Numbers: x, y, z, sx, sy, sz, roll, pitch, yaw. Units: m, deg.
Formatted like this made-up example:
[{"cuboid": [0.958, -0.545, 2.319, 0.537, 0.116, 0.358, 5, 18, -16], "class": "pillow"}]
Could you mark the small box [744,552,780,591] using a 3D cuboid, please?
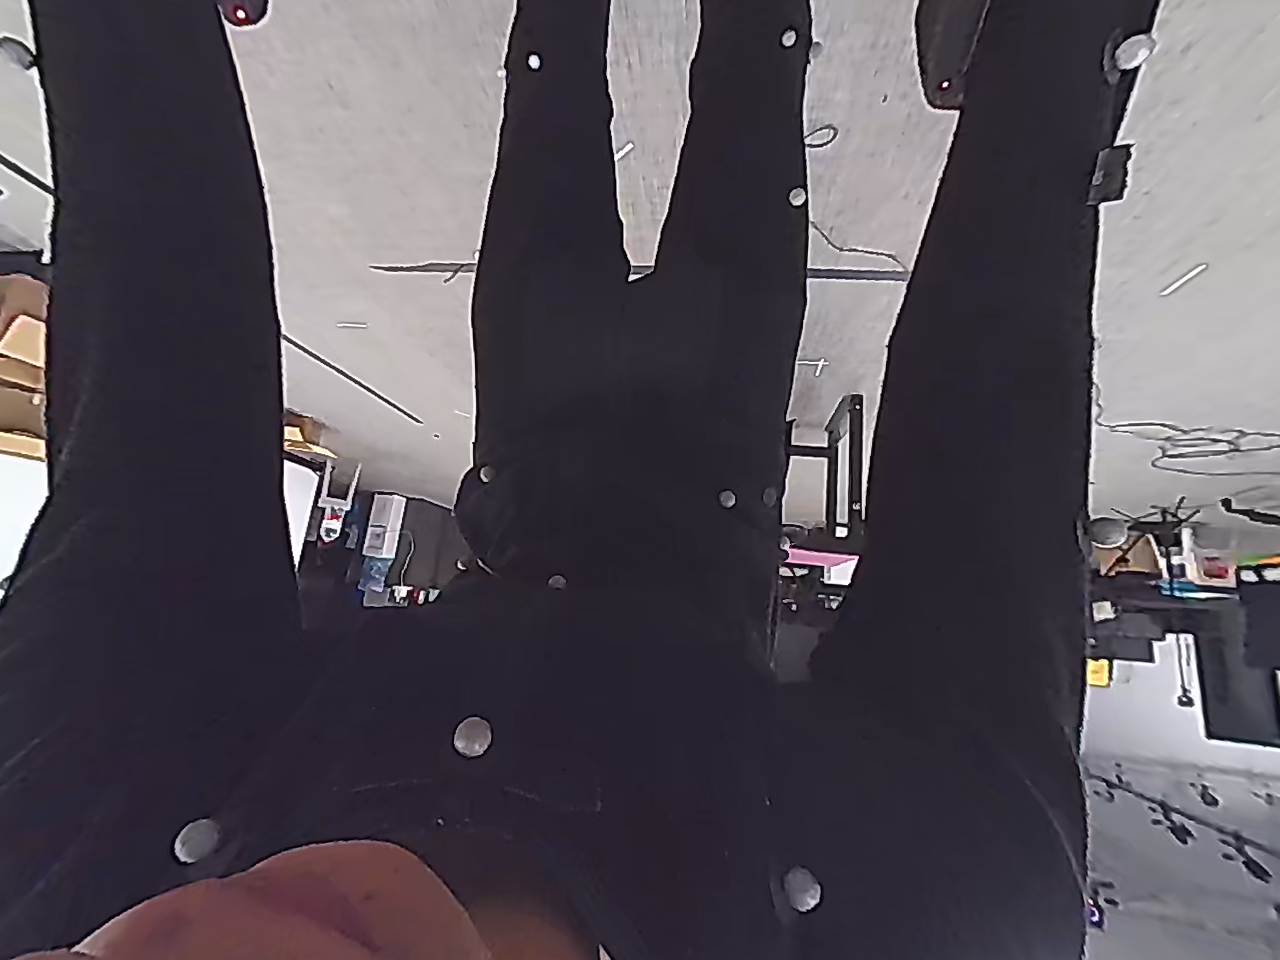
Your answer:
[{"cuboid": [0.610, 0.463, 2.717, 0.168, 0.176, 0.179, 3, 166, 12], "class": "small box"}]
